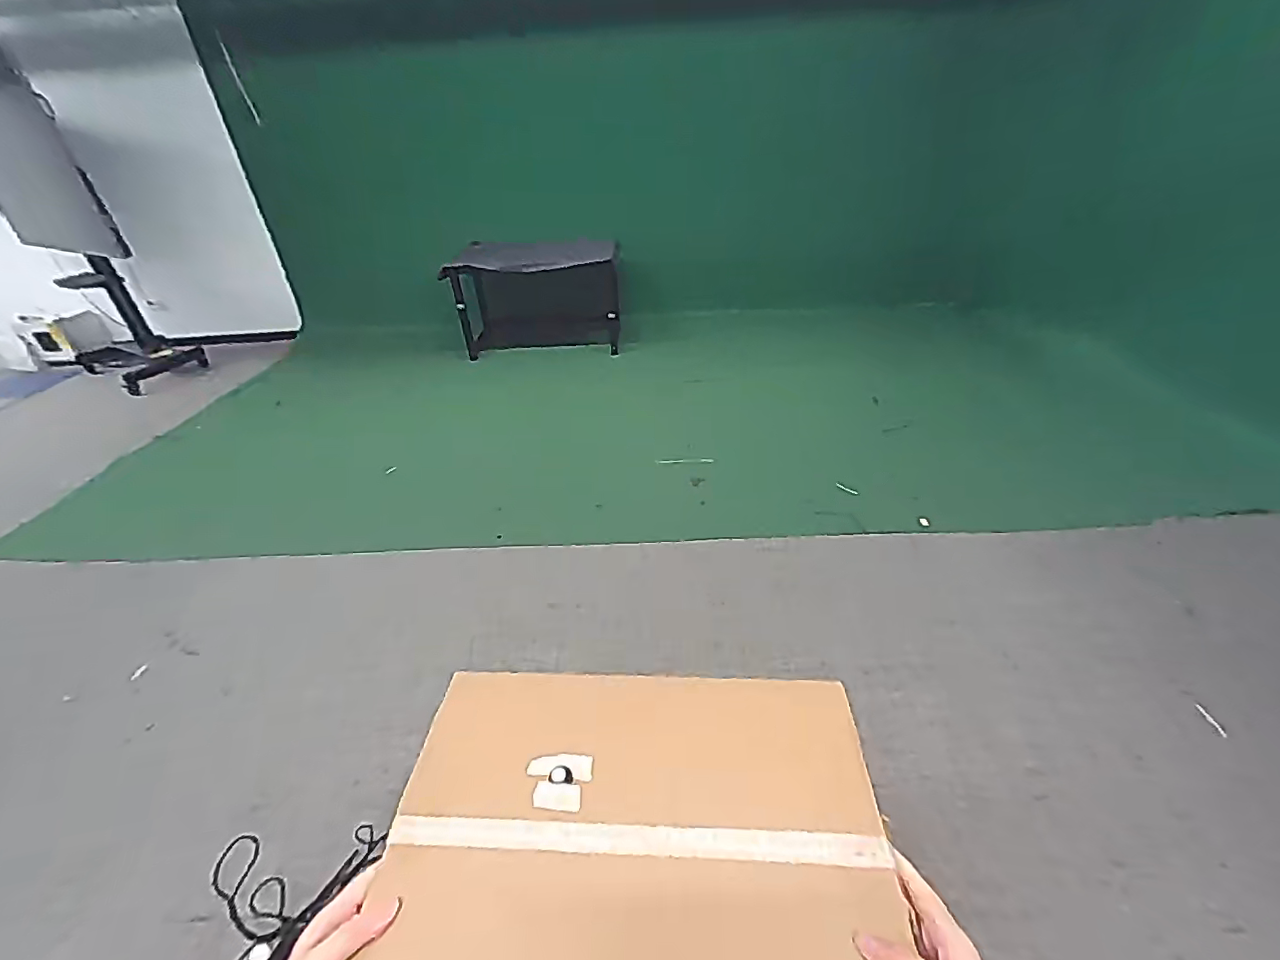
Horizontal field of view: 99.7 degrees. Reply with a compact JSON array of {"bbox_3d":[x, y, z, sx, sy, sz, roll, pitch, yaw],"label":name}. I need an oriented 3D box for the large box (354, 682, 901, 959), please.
[{"bbox_3d":[0.004,0.424,0.534,0.408,0.320,0.320,-2,35,6],"label":"large box"}]
